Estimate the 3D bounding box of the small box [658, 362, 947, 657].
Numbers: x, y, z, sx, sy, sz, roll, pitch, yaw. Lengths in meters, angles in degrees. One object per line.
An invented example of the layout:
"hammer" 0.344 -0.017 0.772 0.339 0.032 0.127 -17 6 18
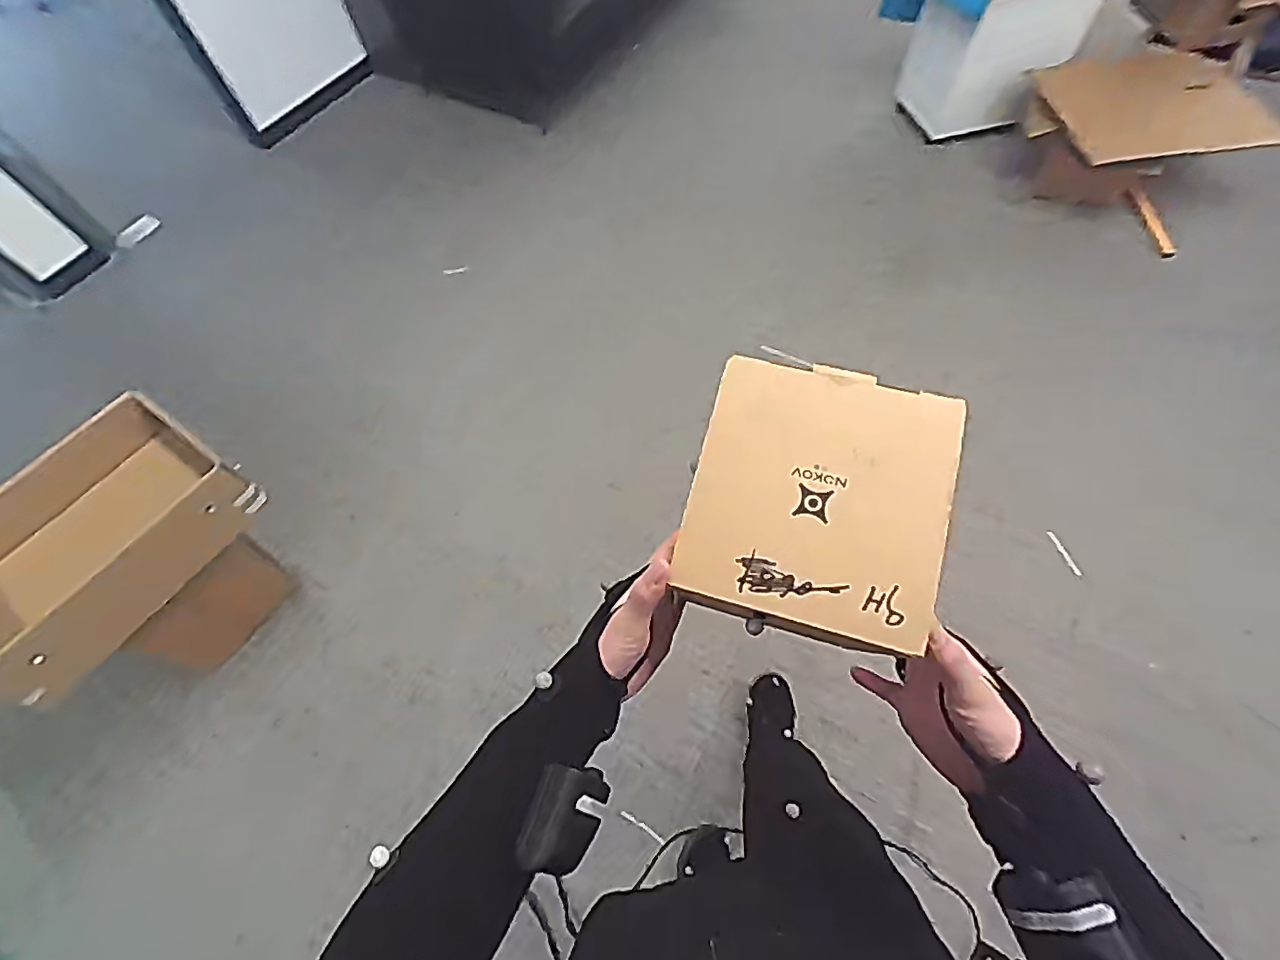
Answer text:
"small box" 0.121 0.032 0.440 0.168 0.176 0.179 13 76 13
